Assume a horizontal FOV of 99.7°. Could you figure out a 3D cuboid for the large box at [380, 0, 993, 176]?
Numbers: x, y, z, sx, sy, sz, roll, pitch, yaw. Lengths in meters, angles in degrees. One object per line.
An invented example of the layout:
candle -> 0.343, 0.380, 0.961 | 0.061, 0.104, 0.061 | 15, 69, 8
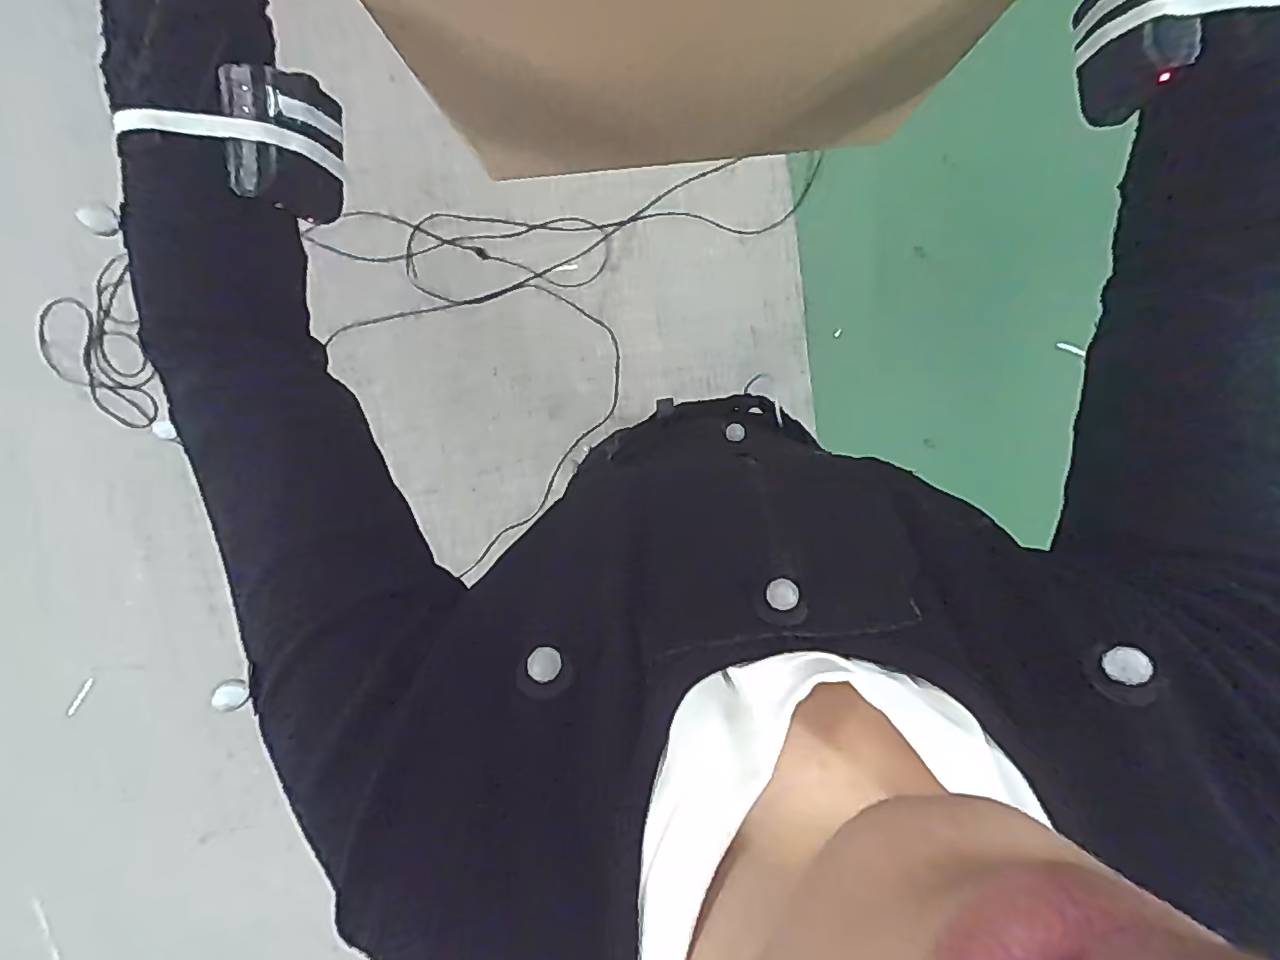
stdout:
large box -> 0.029, -0.454, 0.378 | 0.408, 0.320, 0.320 | -5, 99, 1
